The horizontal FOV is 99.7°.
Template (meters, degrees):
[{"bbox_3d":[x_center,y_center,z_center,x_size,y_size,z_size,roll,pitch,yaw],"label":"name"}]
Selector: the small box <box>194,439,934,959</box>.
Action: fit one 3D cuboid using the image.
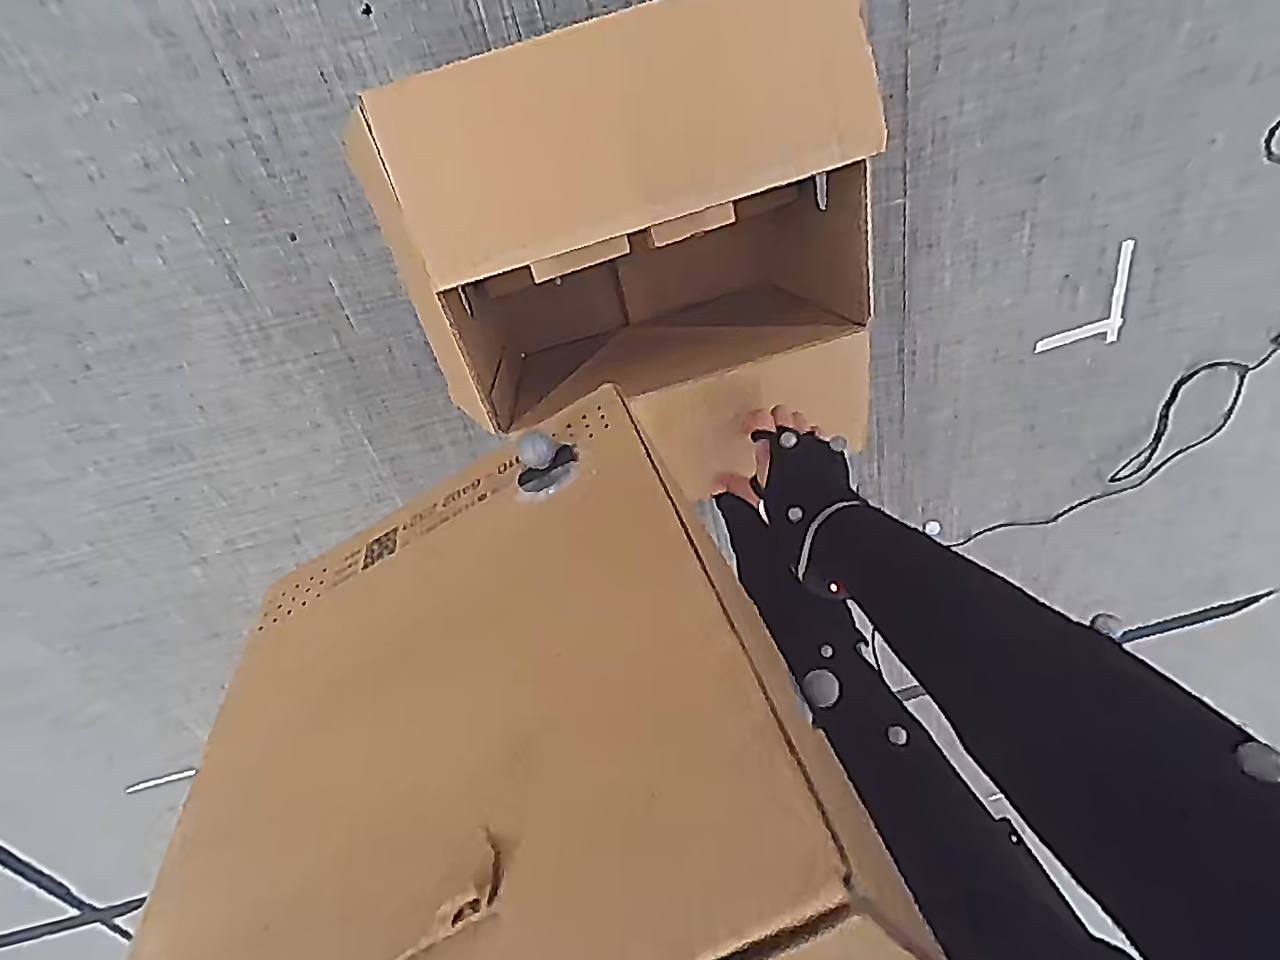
[{"bbox_3d":[-0.023,0.107,0.208,0.168,0.176,0.179,-30,130,5],"label":"small box"}]
